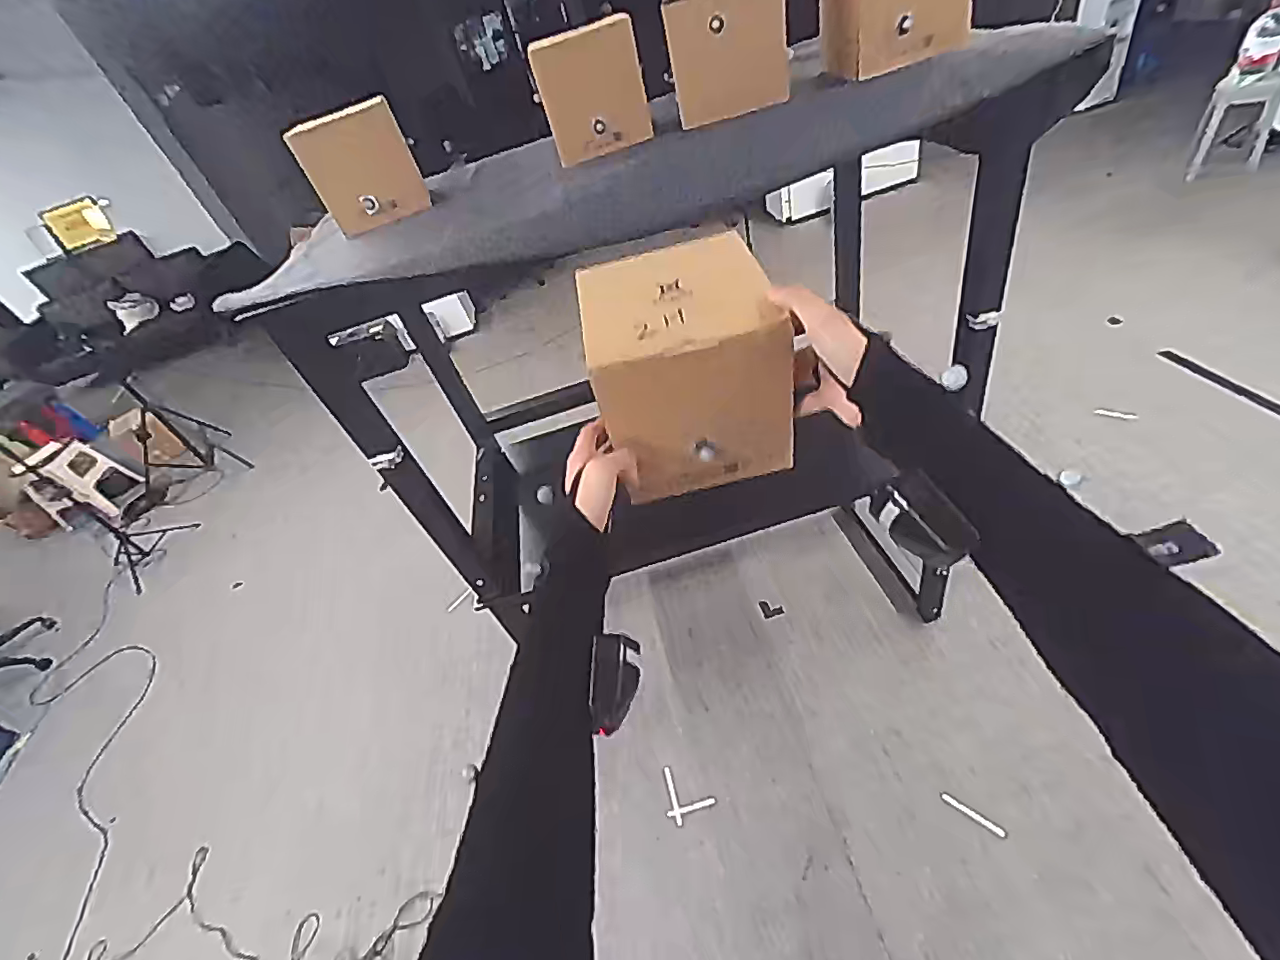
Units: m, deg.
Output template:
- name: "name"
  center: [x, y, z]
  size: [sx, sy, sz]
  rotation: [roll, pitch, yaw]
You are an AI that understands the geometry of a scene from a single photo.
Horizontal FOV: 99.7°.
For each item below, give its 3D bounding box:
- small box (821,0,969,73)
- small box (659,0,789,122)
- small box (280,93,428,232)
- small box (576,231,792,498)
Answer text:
- name: "small box"
  center: [0.382, -0.749, 0.826]
  size: [0.168, 0.176, 0.179]
  rotation: [-15, 41, 6]
- name: "small box"
  center: [0.139, -0.707, 0.874]
  size: [0.179, 0.176, 0.168]
  rotation: [-7, 43, 14]
- name: "small box"
  center: [-0.500, -0.569, 0.972]
  size: [0.168, 0.176, 0.179]
  rotation: [-24, 42, -5]
- name: "small box"
  center: [0.040, -0.111, 0.528]
  size: [0.168, 0.176, 0.179]
  rotation: [-13, 46, 3]
